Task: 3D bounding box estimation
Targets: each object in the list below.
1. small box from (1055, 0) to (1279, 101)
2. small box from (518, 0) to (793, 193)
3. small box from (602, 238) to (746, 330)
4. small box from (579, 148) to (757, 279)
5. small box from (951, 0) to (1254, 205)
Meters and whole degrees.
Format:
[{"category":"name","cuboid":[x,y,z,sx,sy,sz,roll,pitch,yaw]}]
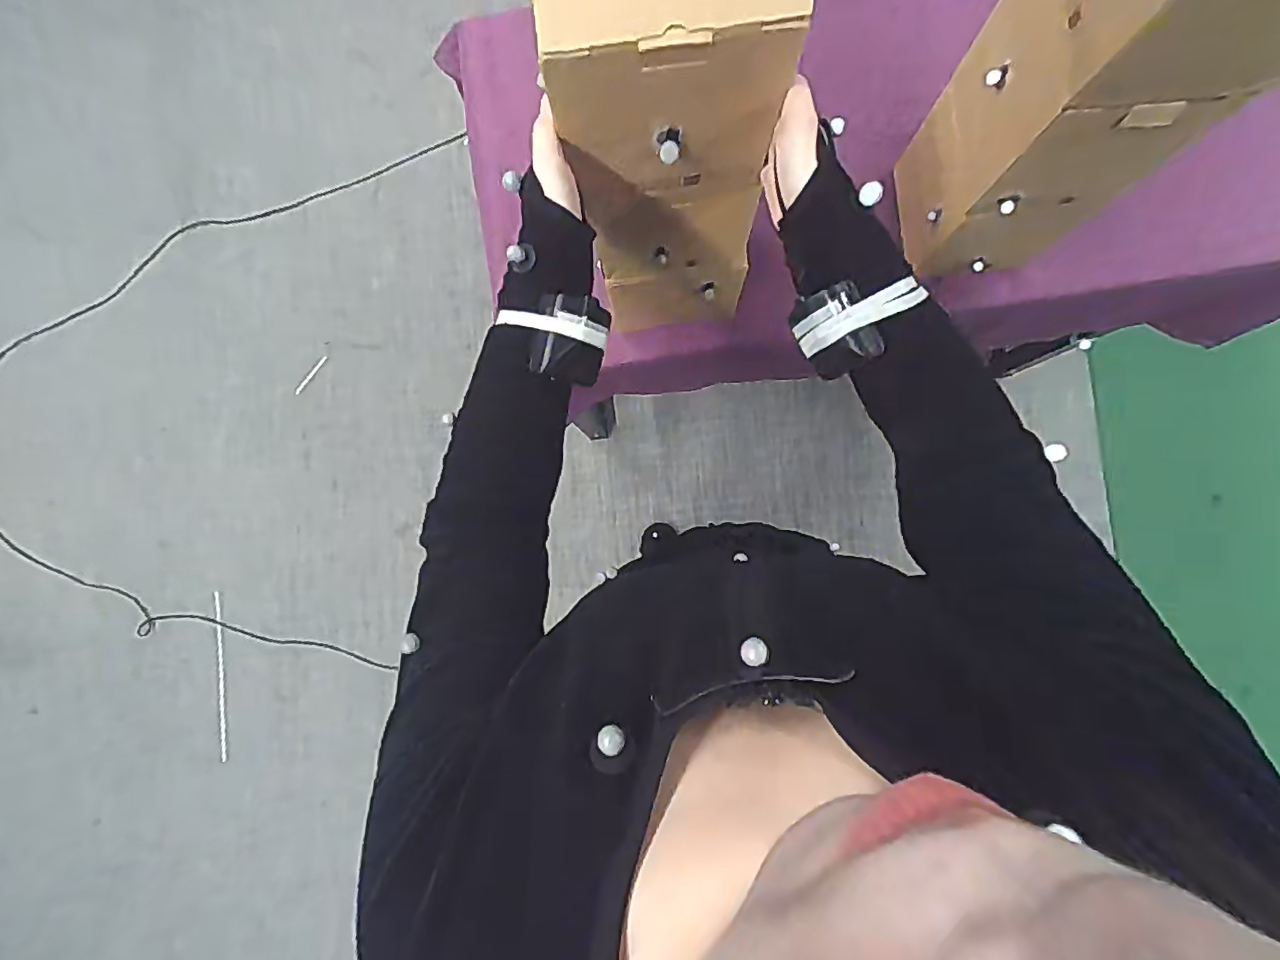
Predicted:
[{"category":"small box","cuboid":[0.433,-0.409,0.386,0.179,0.176,0.168,-2,87,4]},{"category":"small box","cuboid":[0.006,-0.340,0.403,0.168,0.176,0.179,-6,89,1]},{"category":"small box","cuboid":[0.040,-0.318,0.739,0.179,0.176,0.168,-6,85,4]},{"category":"small box","cuboid":[0.024,-0.340,0.578,0.168,0.176,0.179,-5,86,4]},{"category":"small box","cuboid":[0.443,-0.403,0.549,0.168,0.176,0.179,-3,85,4]}]
